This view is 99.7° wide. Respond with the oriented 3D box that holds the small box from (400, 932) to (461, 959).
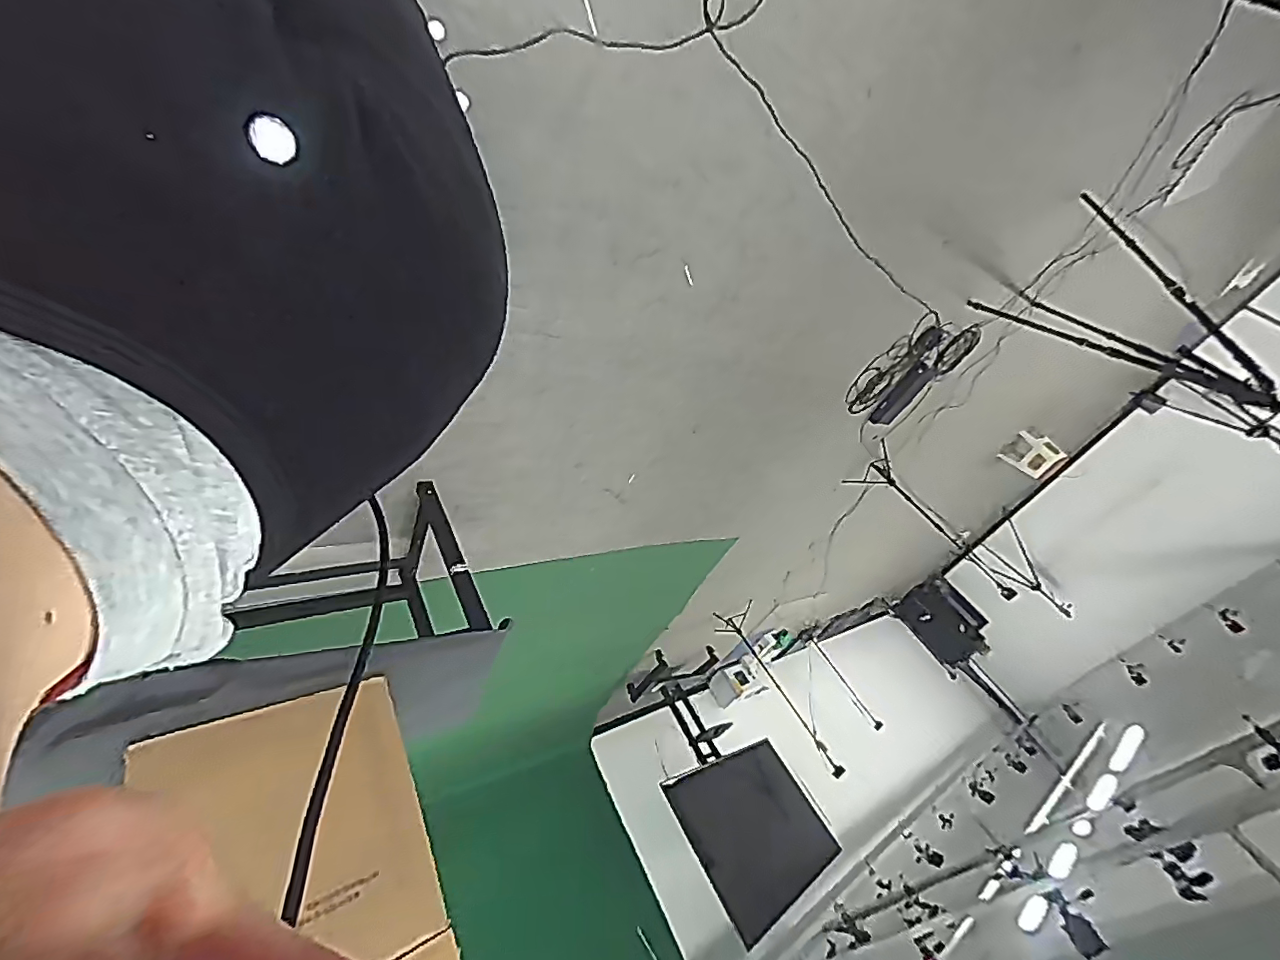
[{"bbox_3d":[-0.463,1.108,1.145,0.168,0.176,0.179,-9,139,-36],"label":"small box"}]
